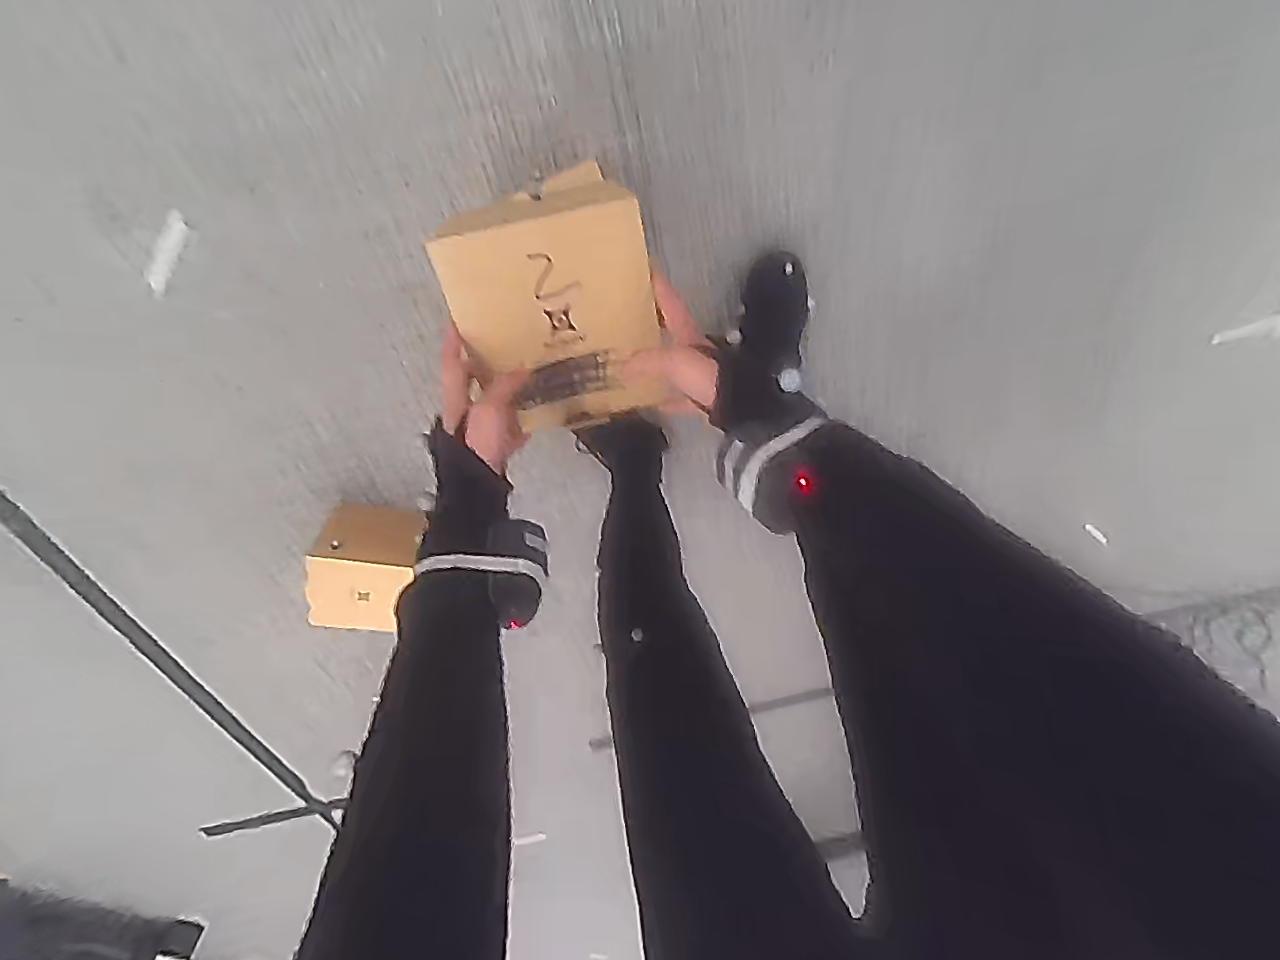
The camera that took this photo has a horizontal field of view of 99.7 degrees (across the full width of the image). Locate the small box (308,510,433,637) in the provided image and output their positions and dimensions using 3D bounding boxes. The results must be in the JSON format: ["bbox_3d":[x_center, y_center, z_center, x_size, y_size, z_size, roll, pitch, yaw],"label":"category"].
[{"bbox_3d":[-0.502,0.174,1.028,0.179,0.176,0.168,9,119,-13],"label":"small box"}]

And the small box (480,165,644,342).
[{"bbox_3d":[-0.109,-0.330,0.781,0.168,0.176,0.179,-22,122,5],"label":"small box"}]
